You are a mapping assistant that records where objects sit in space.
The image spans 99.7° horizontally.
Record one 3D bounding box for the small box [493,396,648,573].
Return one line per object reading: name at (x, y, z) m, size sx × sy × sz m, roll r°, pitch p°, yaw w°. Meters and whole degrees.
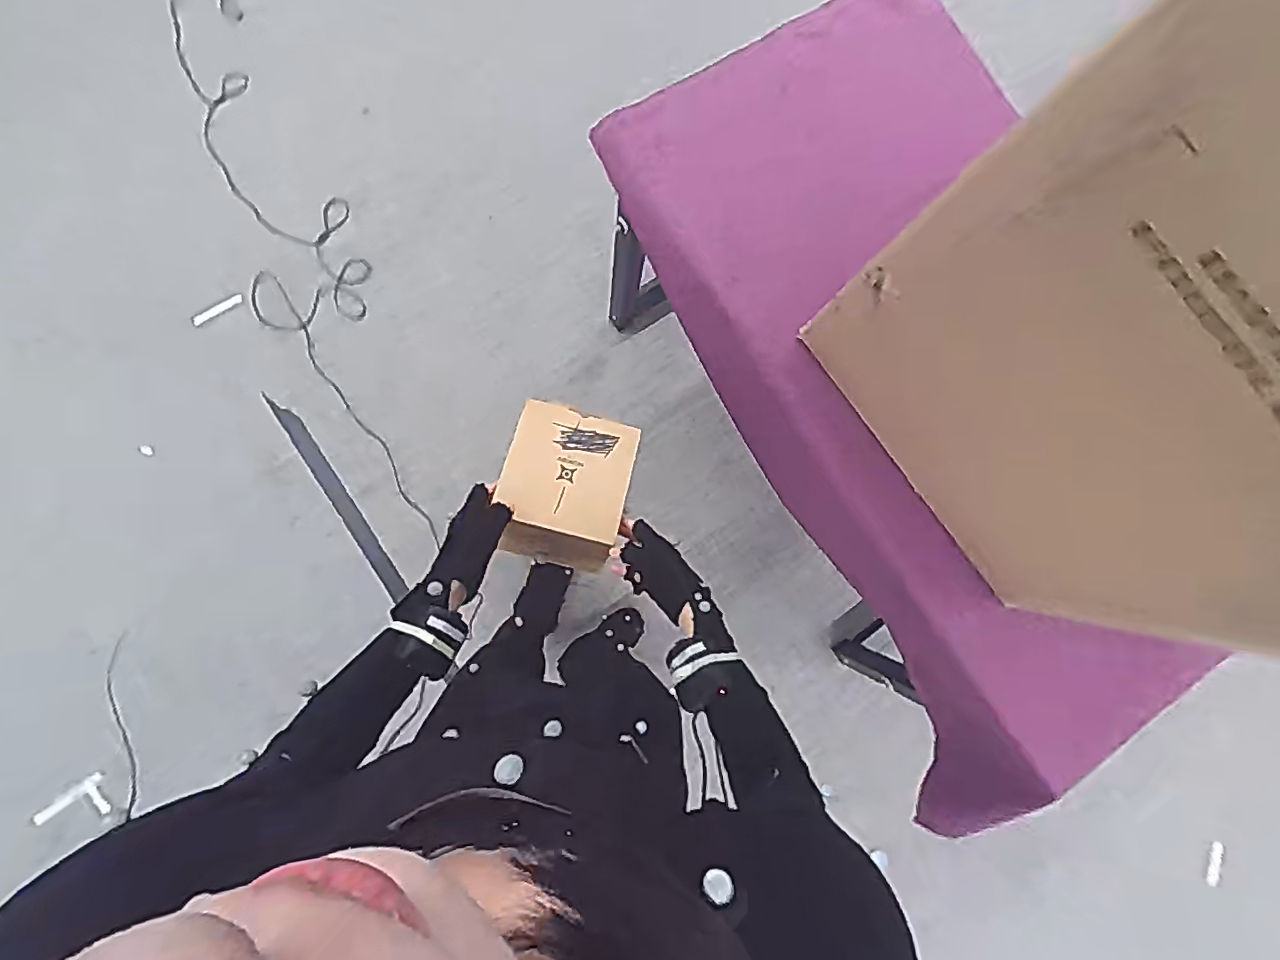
small box at (-0.100, 0.015, 0.768) m, size 0.168 × 0.176 × 0.179 m, roll 16°, pitch 67°, yaw -5°
